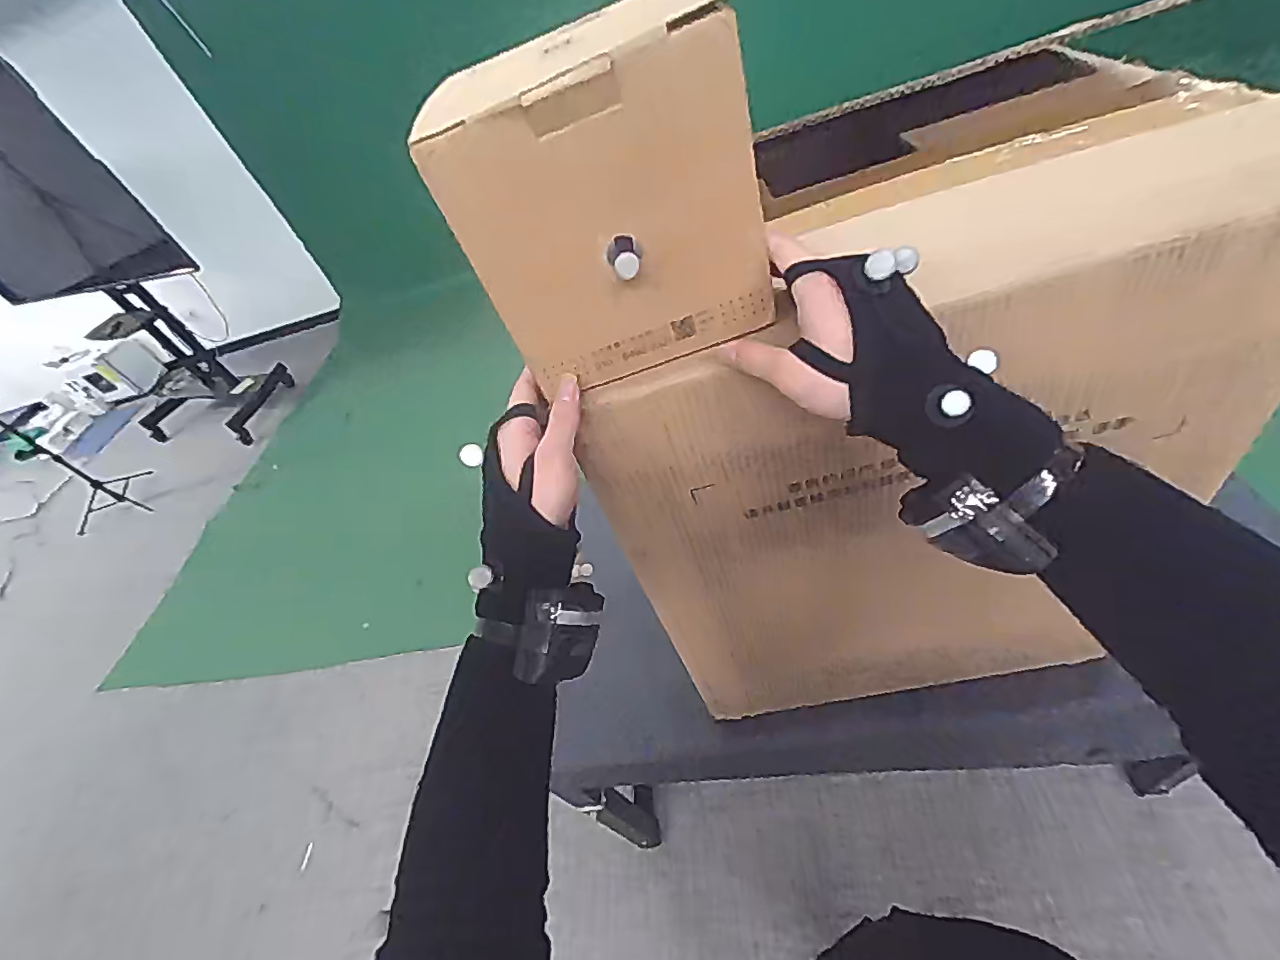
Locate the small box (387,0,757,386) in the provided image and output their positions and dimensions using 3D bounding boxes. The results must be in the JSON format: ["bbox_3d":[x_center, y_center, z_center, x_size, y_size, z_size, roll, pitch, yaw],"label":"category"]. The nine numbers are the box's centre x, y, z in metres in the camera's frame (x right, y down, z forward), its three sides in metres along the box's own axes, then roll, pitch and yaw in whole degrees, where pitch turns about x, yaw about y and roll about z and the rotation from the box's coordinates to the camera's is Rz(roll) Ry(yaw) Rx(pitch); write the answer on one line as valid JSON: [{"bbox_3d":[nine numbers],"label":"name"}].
[{"bbox_3d":[-0.031,-0.183,0.360,0.168,0.176,0.179,-18,46,7],"label":"small box"}]
